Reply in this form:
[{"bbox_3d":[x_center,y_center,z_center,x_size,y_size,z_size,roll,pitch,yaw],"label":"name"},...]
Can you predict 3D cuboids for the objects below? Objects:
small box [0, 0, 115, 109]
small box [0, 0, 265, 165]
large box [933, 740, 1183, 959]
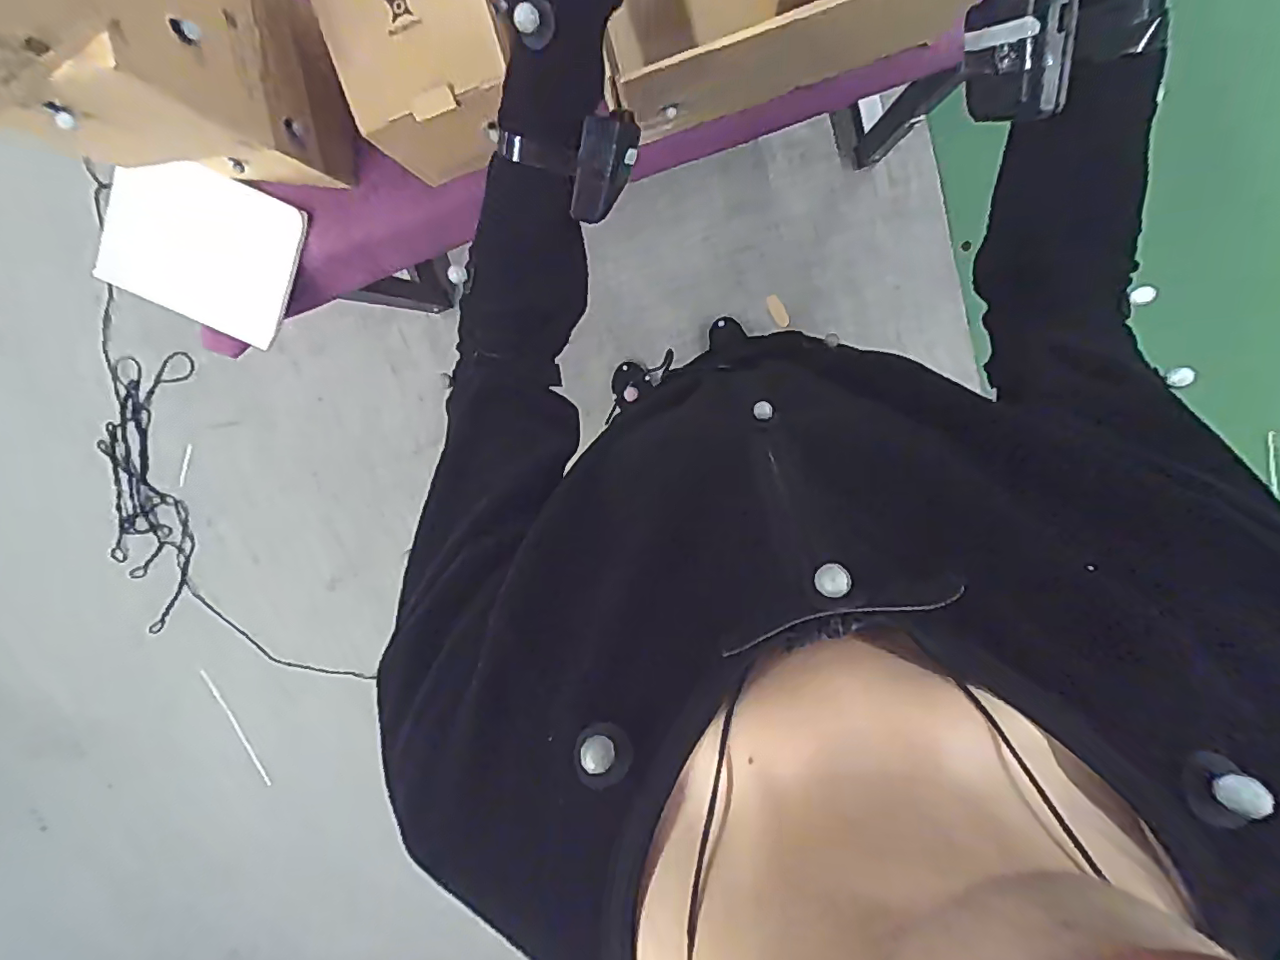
[{"bbox_3d":[-0.485,-0.359,0.310,0.168,0.176,0.179,-25,100,10],"label":"small box"},{"bbox_3d":[-0.467,-0.396,0.469,0.179,0.176,0.168,-3,103,5],"label":"small box"},{"bbox_3d":[1.140,1.030,1.524,0.408,0.320,0.320,-32,99,9],"label":"large box"}]
